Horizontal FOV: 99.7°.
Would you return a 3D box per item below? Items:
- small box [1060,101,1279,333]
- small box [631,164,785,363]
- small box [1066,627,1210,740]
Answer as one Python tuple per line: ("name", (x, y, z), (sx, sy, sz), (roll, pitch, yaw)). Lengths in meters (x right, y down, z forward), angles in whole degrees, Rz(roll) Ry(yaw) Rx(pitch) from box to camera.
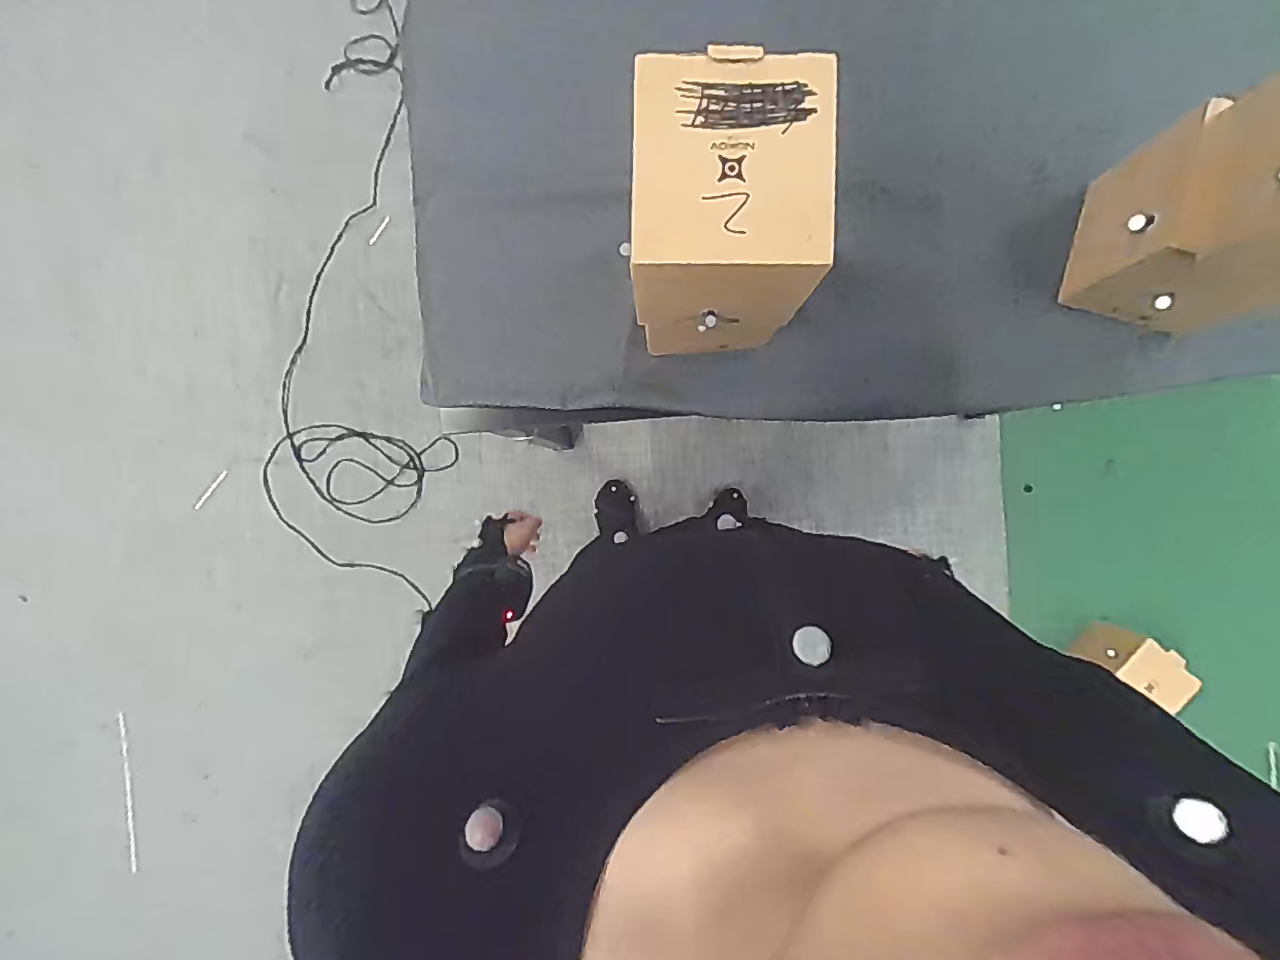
("small box", (0.658, -0.297, 0.650), (0.168, 0.176, 0.179), (16, 88, 3))
("small box", (0.077, -0.259, 0.682), (0.168, 0.176, 0.179), (-4, 88, 3))
("small box", (1.223, 0.499, 1.350), (0.168, 0.176, 0.179), (42, 91, 3))
